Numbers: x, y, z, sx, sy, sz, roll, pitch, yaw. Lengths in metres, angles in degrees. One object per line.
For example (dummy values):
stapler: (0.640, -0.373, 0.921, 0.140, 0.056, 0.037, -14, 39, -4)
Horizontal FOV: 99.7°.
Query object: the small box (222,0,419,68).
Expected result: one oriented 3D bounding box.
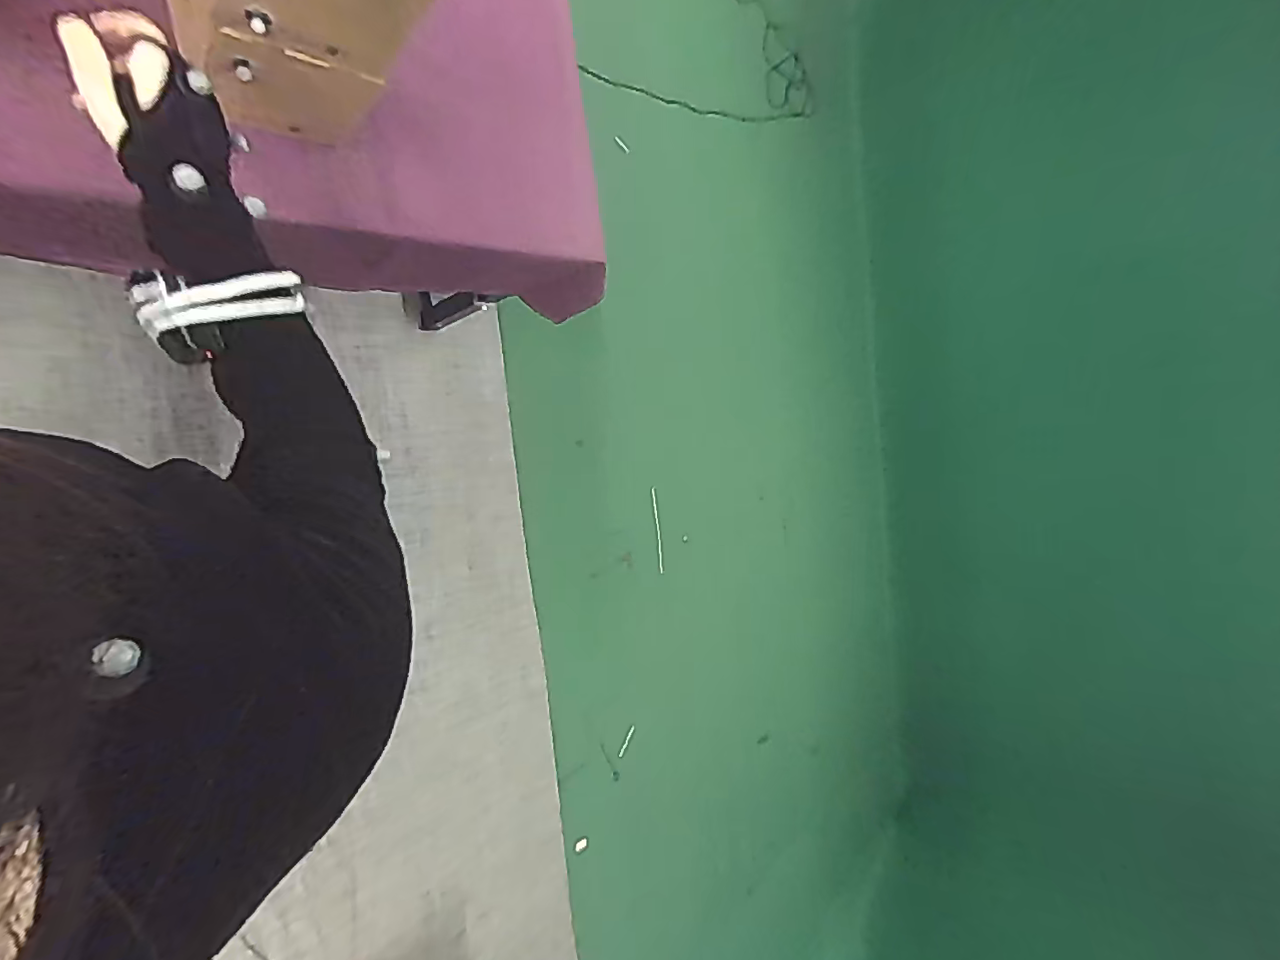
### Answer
small box: (-0.316, -0.550, 0.517, 0.168, 0.176, 0.179, -16, 98, -44)
